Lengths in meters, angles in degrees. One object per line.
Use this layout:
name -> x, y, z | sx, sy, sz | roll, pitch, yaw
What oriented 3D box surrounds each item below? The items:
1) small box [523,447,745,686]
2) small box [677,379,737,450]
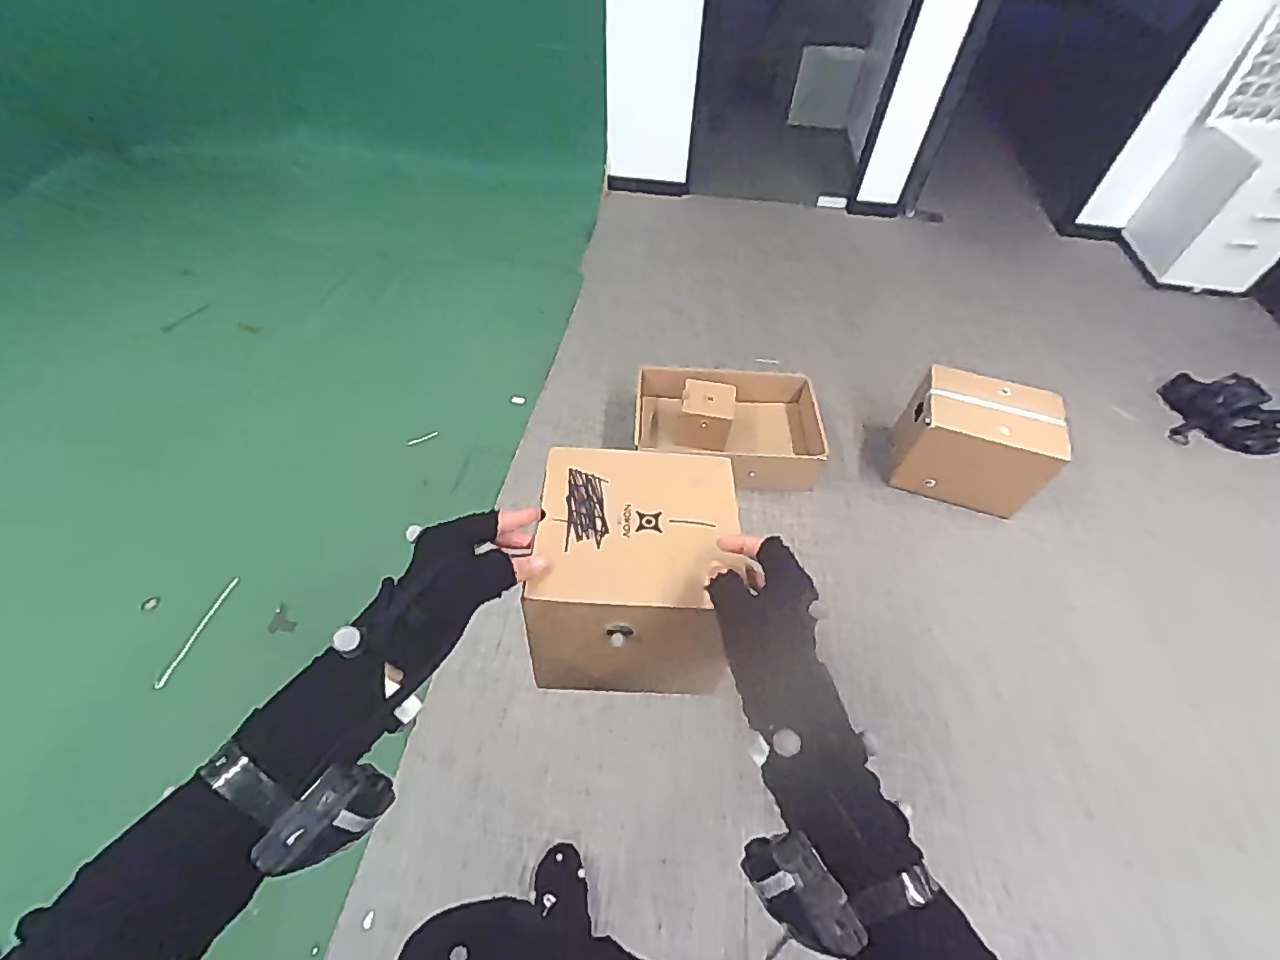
small box -> -0.009, 0.088, 0.528 | 0.179, 0.176, 0.168 | 4, 48, -3
small box -> 0.230, -0.224, 1.874 | 0.179, 0.176, 0.168 | 10, 52, 2
